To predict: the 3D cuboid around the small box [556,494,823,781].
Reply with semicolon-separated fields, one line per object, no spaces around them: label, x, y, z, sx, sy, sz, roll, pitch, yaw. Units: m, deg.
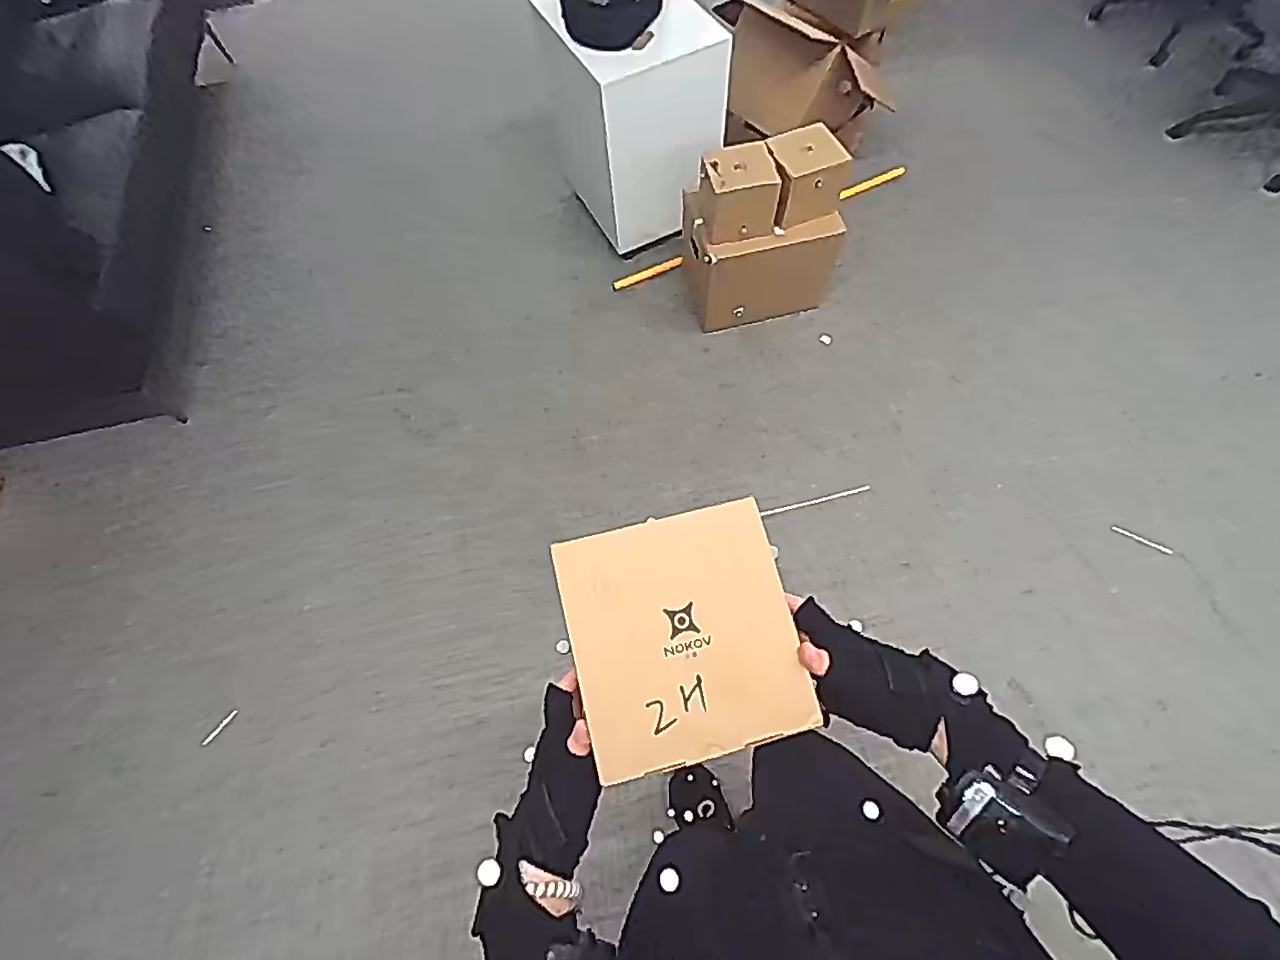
small box;0.029;0.128;0.470;0.168;0.176;0.179;-13;76;-5
